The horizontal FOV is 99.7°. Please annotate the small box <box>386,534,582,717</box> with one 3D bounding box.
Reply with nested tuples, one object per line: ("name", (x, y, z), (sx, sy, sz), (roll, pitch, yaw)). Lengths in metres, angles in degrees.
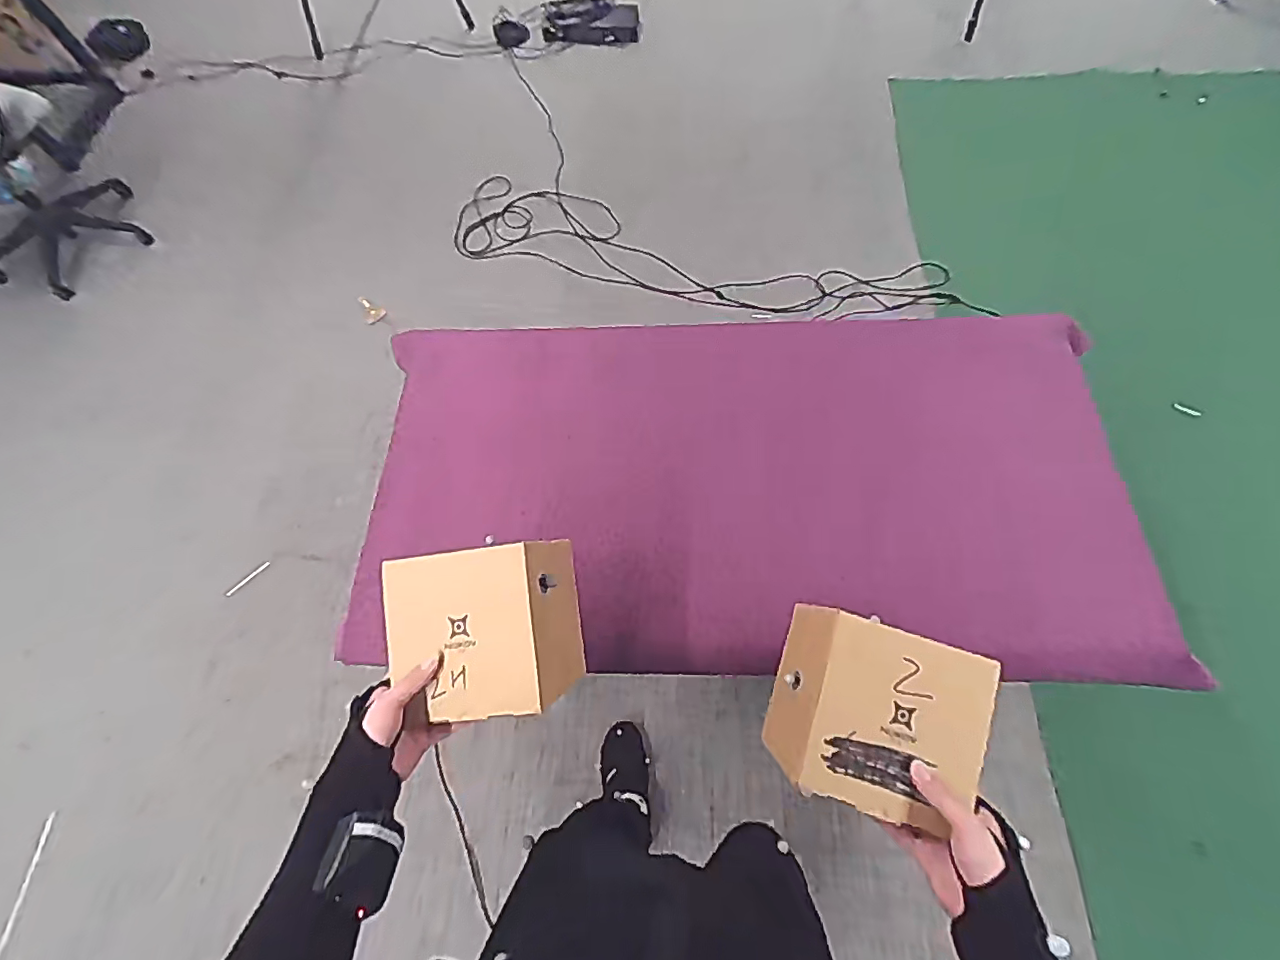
("small box", (-0.173, 0.160, 0.637), (0.168, 0.176, 0.179), (-7, 83, 9))
